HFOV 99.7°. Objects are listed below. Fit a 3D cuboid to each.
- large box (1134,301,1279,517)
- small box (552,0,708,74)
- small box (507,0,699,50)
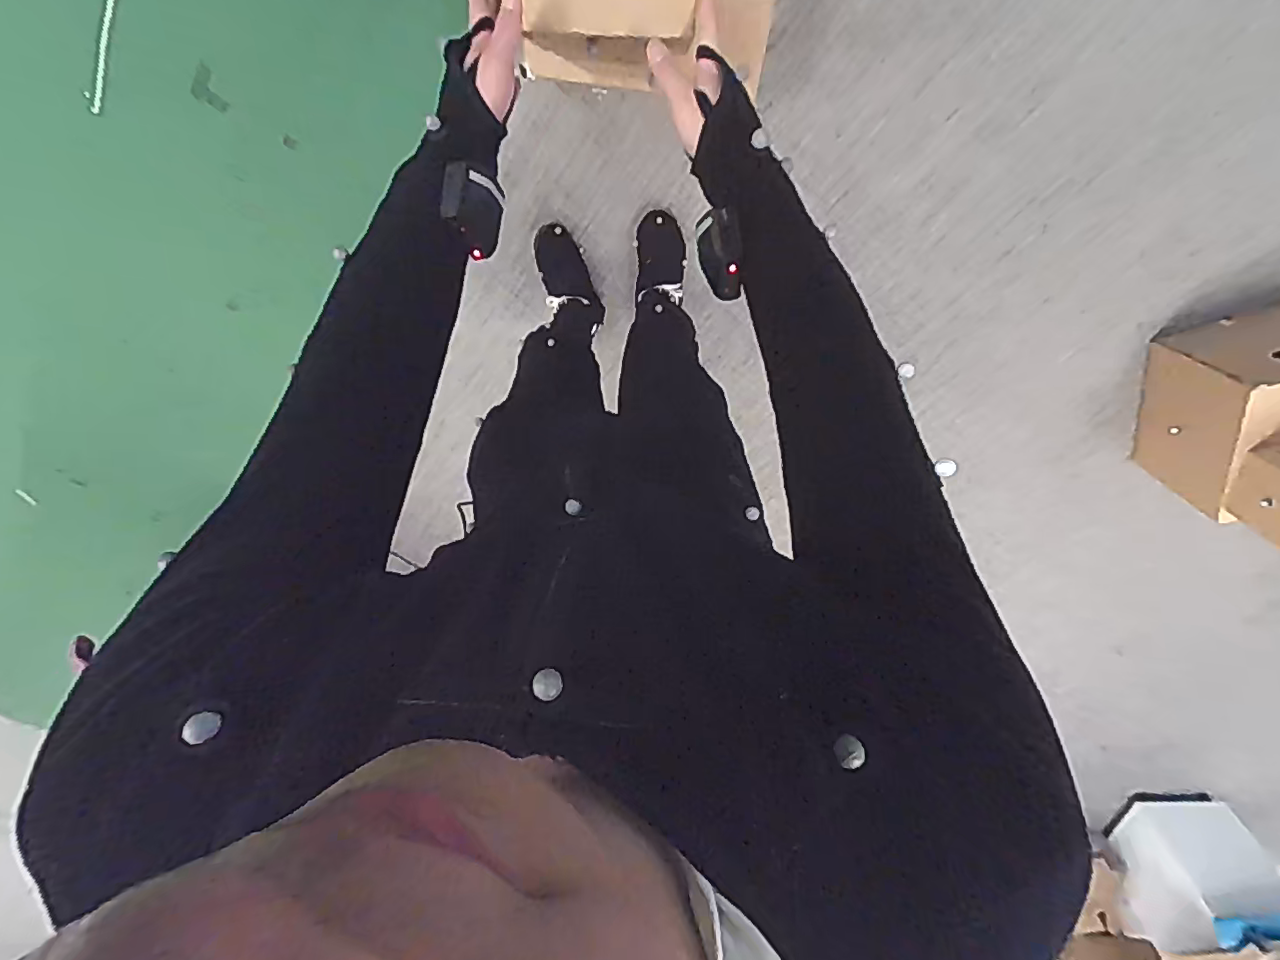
[{"bbox_3d":[1.547,-0.179,1.373,0.320,0.320,0.408,-16,121,13],"label":"large box"},{"bbox_3d":[-0.004,-0.611,0.658,0.179,0.176,0.168,8,124,-3],"label":"small box"},{"bbox_3d":[-0.026,-0.527,0.518,0.179,0.176,0.168,3,125,0],"label":"small box"}]
